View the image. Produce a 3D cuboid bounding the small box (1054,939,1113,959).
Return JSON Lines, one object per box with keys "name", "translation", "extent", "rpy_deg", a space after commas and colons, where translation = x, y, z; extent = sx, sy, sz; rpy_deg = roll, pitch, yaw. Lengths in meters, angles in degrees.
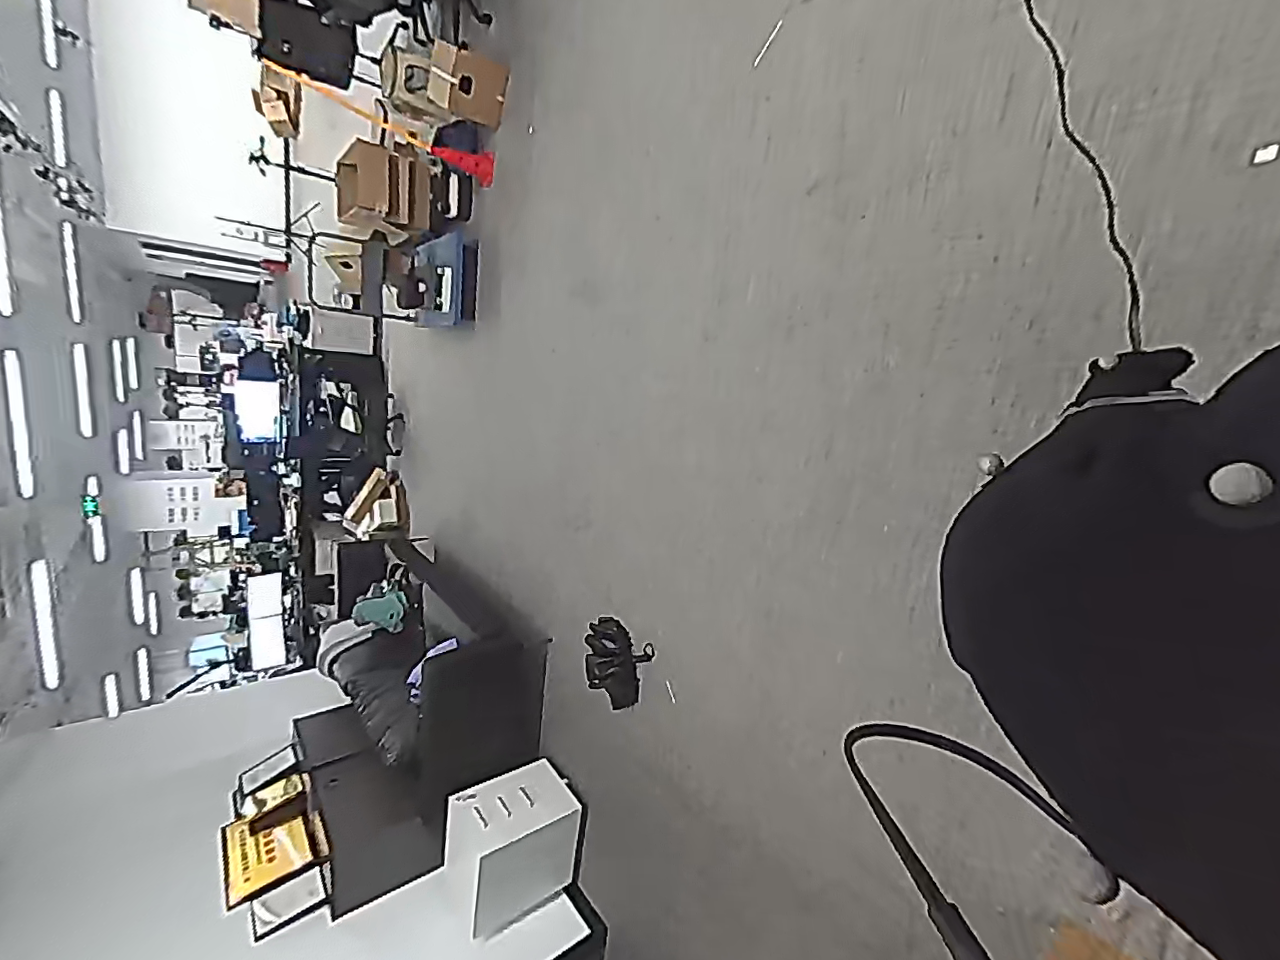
{"name": "small box", "translation": [0.964, 1.128, 1.141], "extent": [0.179, 0.176, 0.168], "rpy_deg": [21, 109, 48]}
